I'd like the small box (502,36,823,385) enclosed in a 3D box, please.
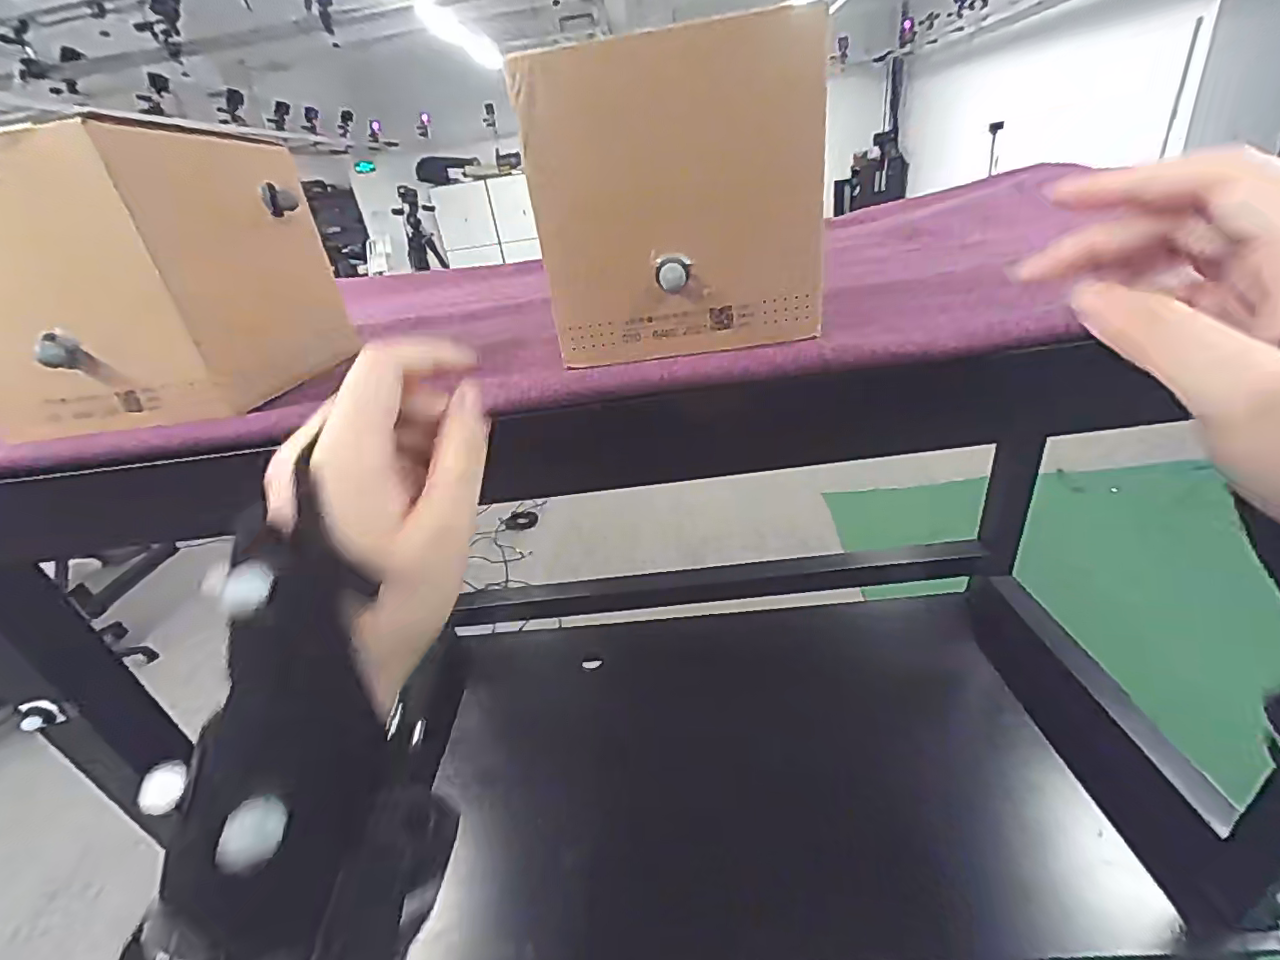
[{"bbox_3d":[0.022,-0.179,0.381,0.168,0.176,0.179,-6,31,6],"label":"small box"}]

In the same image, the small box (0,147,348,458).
[{"bbox_3d":[-0.348,-0.130,0.396,0.168,0.176,0.179,-6,28,5],"label":"small box"}]
